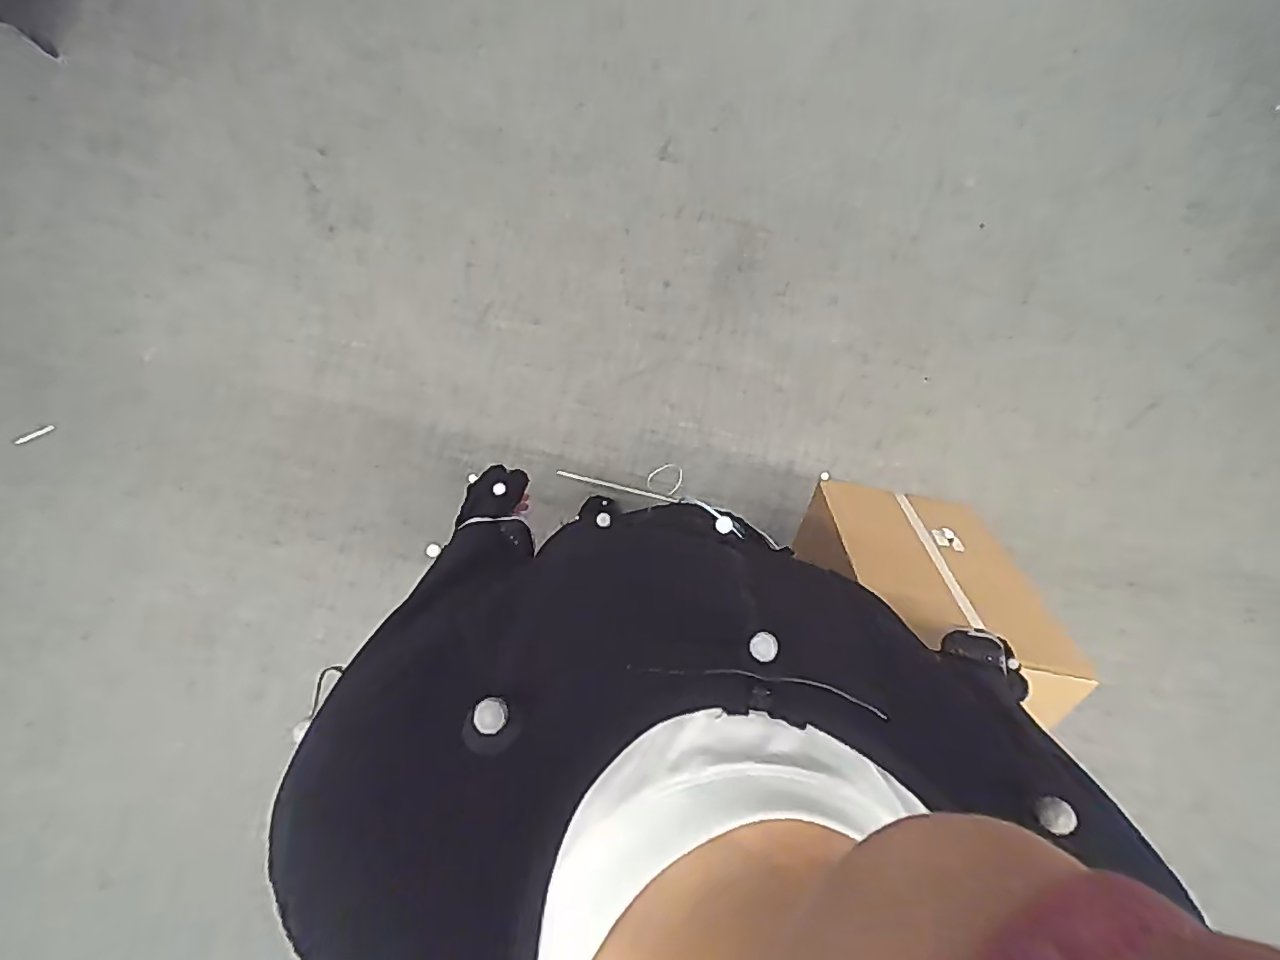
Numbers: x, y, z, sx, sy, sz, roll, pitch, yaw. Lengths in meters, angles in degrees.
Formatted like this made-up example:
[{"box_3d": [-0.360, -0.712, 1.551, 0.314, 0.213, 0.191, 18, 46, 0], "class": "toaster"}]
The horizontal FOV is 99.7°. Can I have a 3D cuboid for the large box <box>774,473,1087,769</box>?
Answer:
[{"box_3d": [0.462, 0.243, 0.988, 0.320, 0.408, 0.320, 11, 124, -3], "class": "large box"}]
